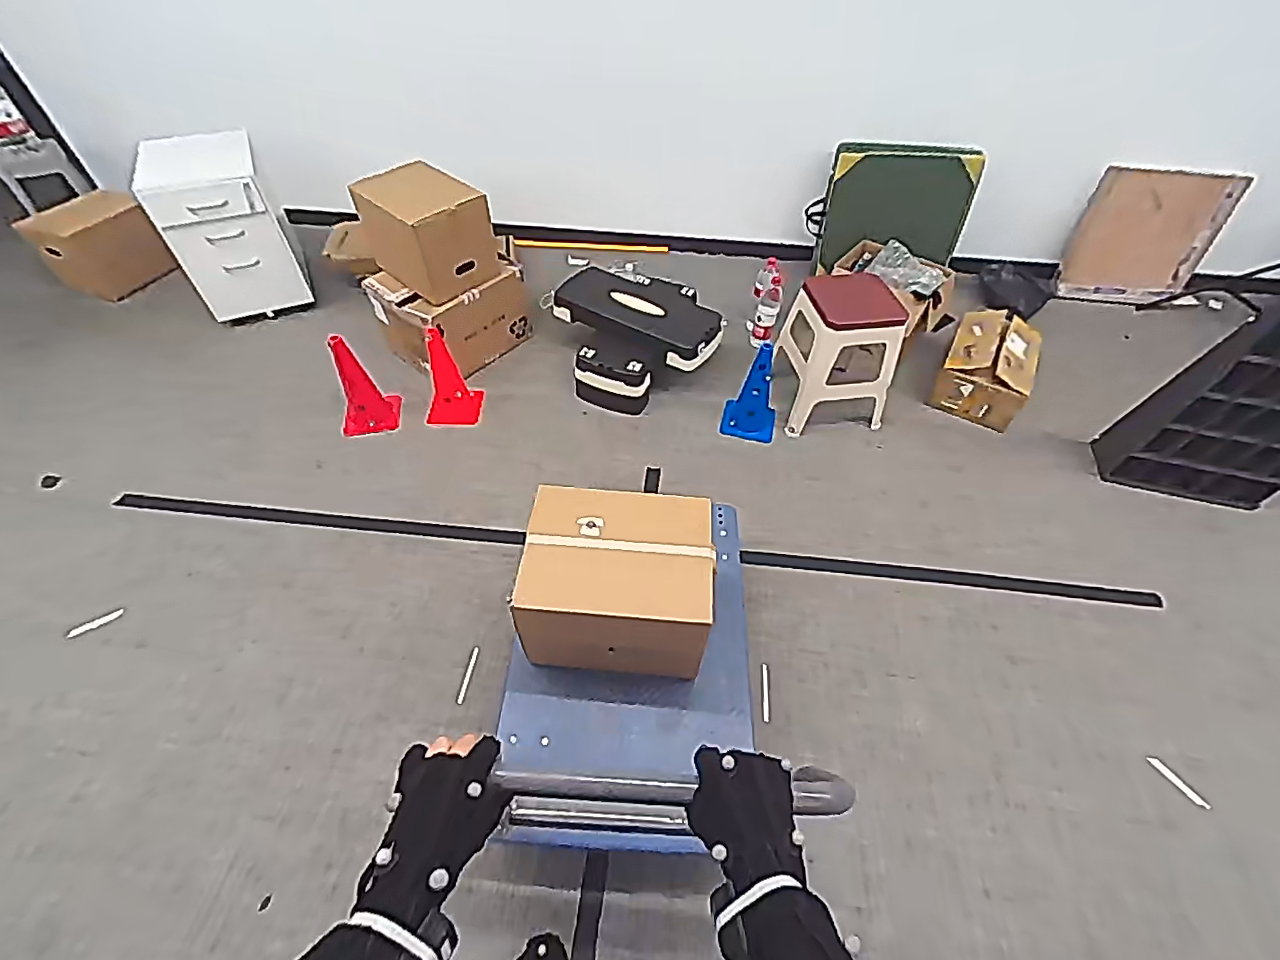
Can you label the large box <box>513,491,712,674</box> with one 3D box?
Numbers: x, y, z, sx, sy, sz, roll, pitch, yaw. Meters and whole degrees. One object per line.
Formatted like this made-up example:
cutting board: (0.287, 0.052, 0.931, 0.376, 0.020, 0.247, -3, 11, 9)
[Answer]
large box: (-0.046, 0.248, 1.279, 0.408, 0.320, 0.320, 4, 50, 2)
